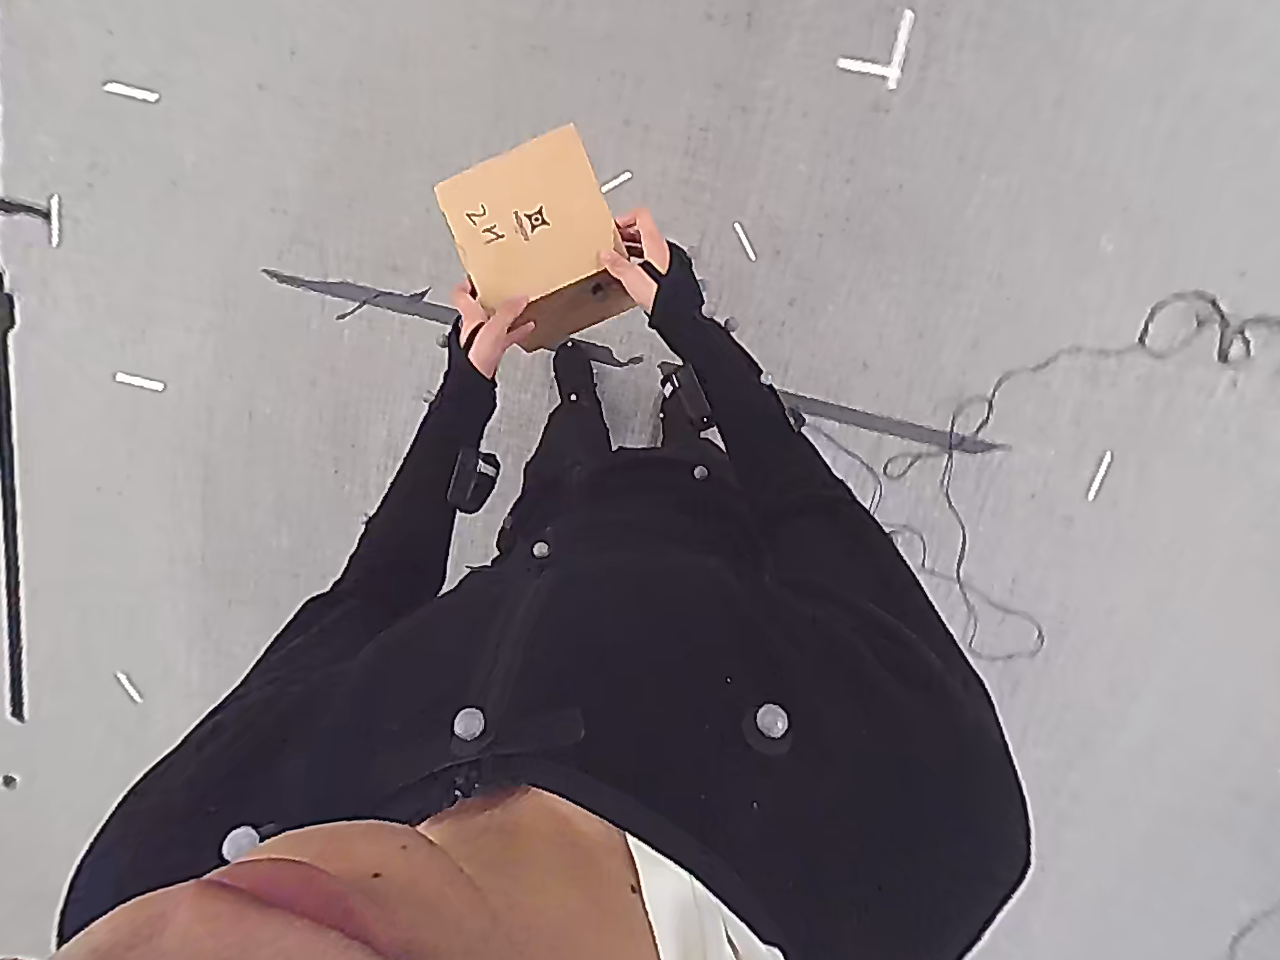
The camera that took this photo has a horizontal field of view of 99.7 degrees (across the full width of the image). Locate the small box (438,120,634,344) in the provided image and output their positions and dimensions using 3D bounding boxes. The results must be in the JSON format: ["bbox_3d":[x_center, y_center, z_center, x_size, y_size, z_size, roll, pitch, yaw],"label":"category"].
[{"bbox_3d":[-0.113,-0.291,0.674,0.179,0.176,0.168,-21,89,4],"label":"small box"}]

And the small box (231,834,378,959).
[{"bbox_3d":[-0.625,0.814,1.022,0.179,0.176,0.168,14,103,-1],"label":"small box"}]

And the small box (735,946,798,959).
[{"bbox_3d":[0.255,1.033,1.015,0.168,0.176,0.179,12,105,1],"label":"small box"}]
